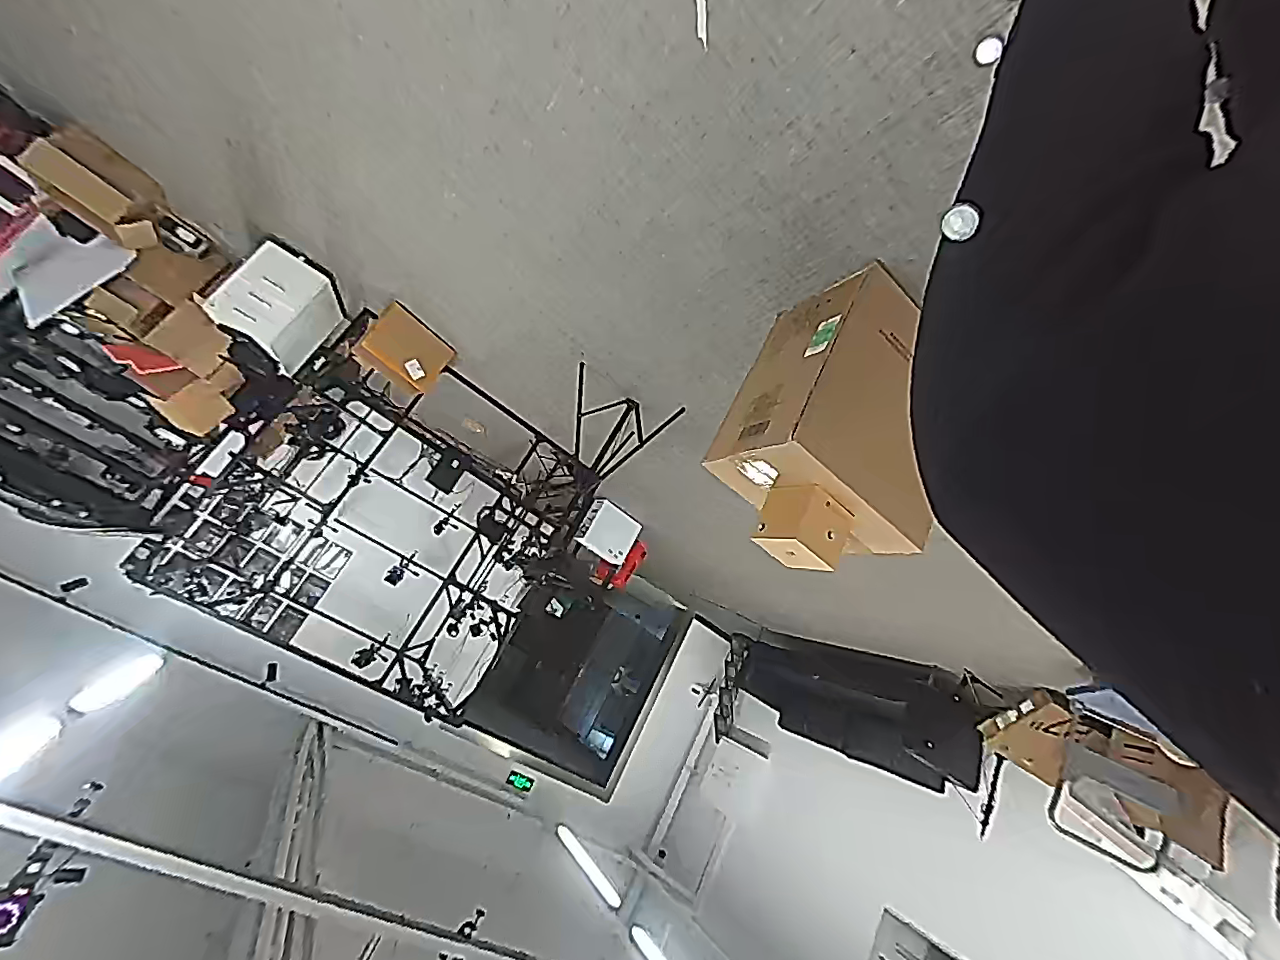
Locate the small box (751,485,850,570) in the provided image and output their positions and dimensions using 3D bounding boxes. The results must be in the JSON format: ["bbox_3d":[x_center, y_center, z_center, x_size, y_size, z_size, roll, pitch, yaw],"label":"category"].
[{"bbox_3d":[0.434,0.124,1.444,0.168,0.176,0.179,36,160,-22],"label":"small box"}]
